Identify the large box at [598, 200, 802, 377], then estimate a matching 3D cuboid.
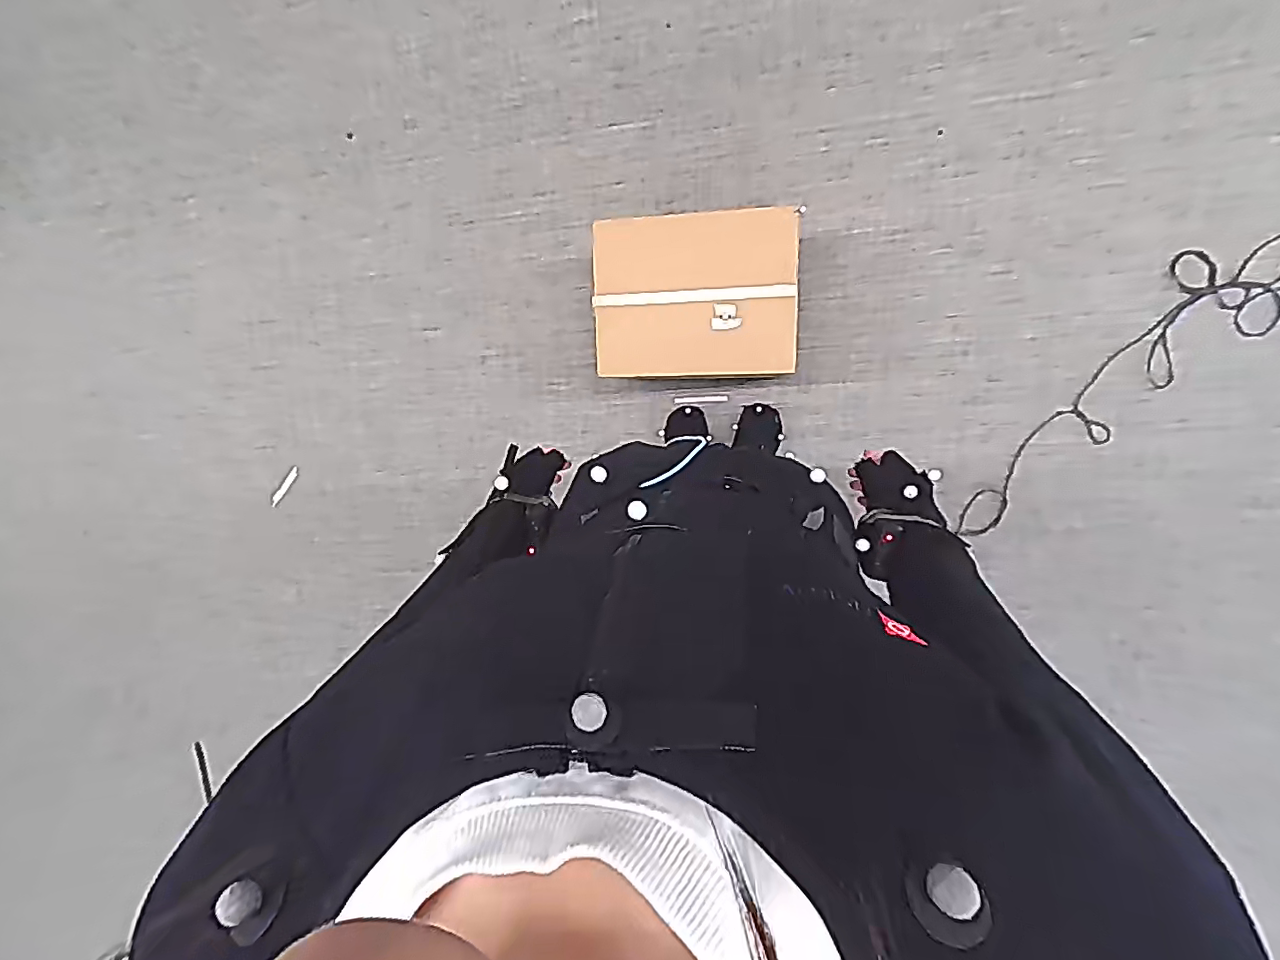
[{"bbox_3d":[0.138,-0.401,1.222,0.408,0.320,0.320,1,100,10],"label":"large box"}]
